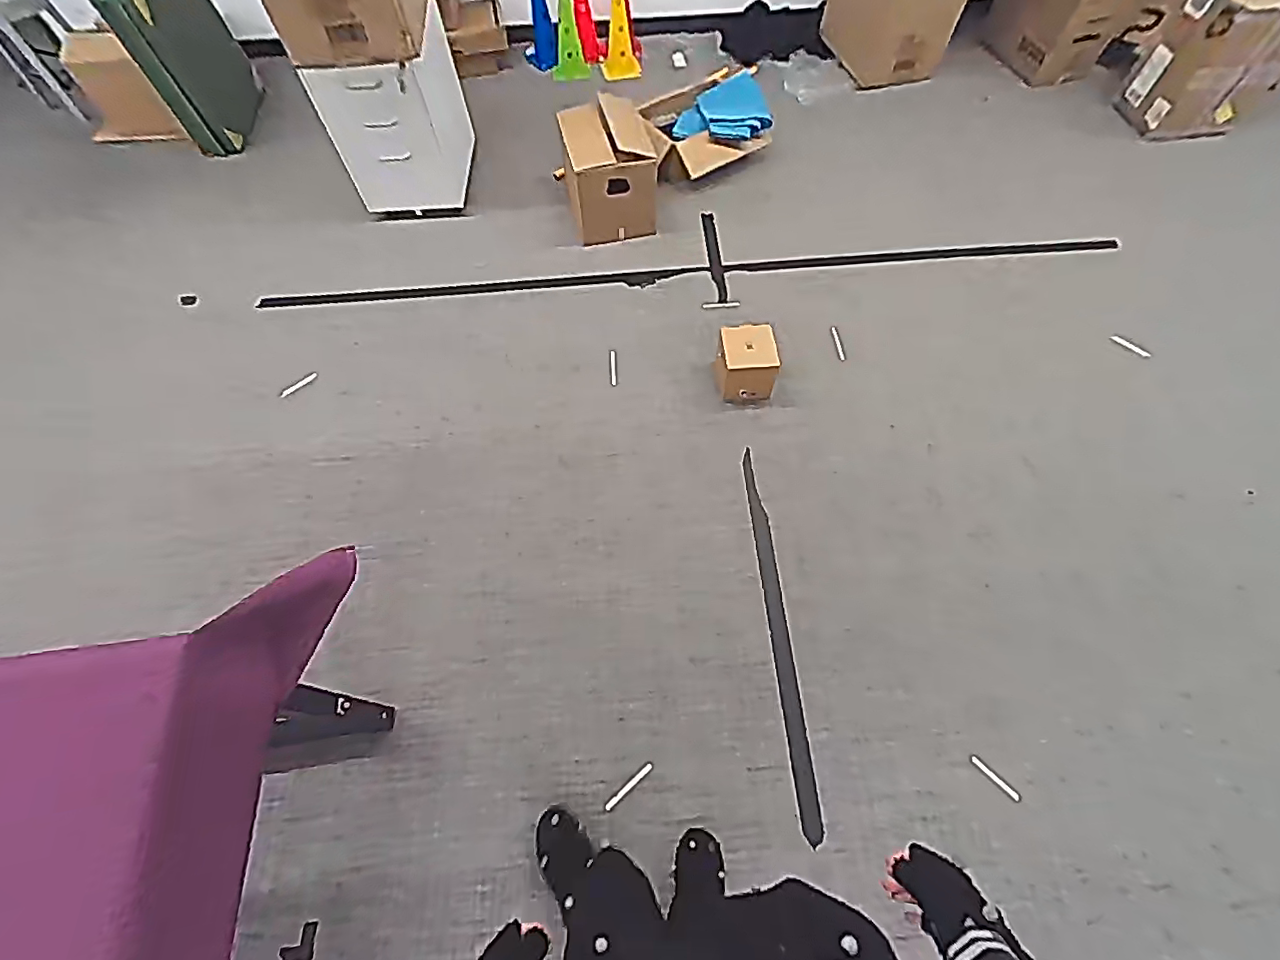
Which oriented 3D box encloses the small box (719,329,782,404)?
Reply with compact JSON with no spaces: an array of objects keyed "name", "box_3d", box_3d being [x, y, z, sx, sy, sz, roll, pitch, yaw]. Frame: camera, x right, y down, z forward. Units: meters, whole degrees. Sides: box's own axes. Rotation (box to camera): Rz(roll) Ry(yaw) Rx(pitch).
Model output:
[{"name":"small box","box_3d":[0.356,-0.372,1.779,0.168,0.176,0.179,-4,62,0]}]
